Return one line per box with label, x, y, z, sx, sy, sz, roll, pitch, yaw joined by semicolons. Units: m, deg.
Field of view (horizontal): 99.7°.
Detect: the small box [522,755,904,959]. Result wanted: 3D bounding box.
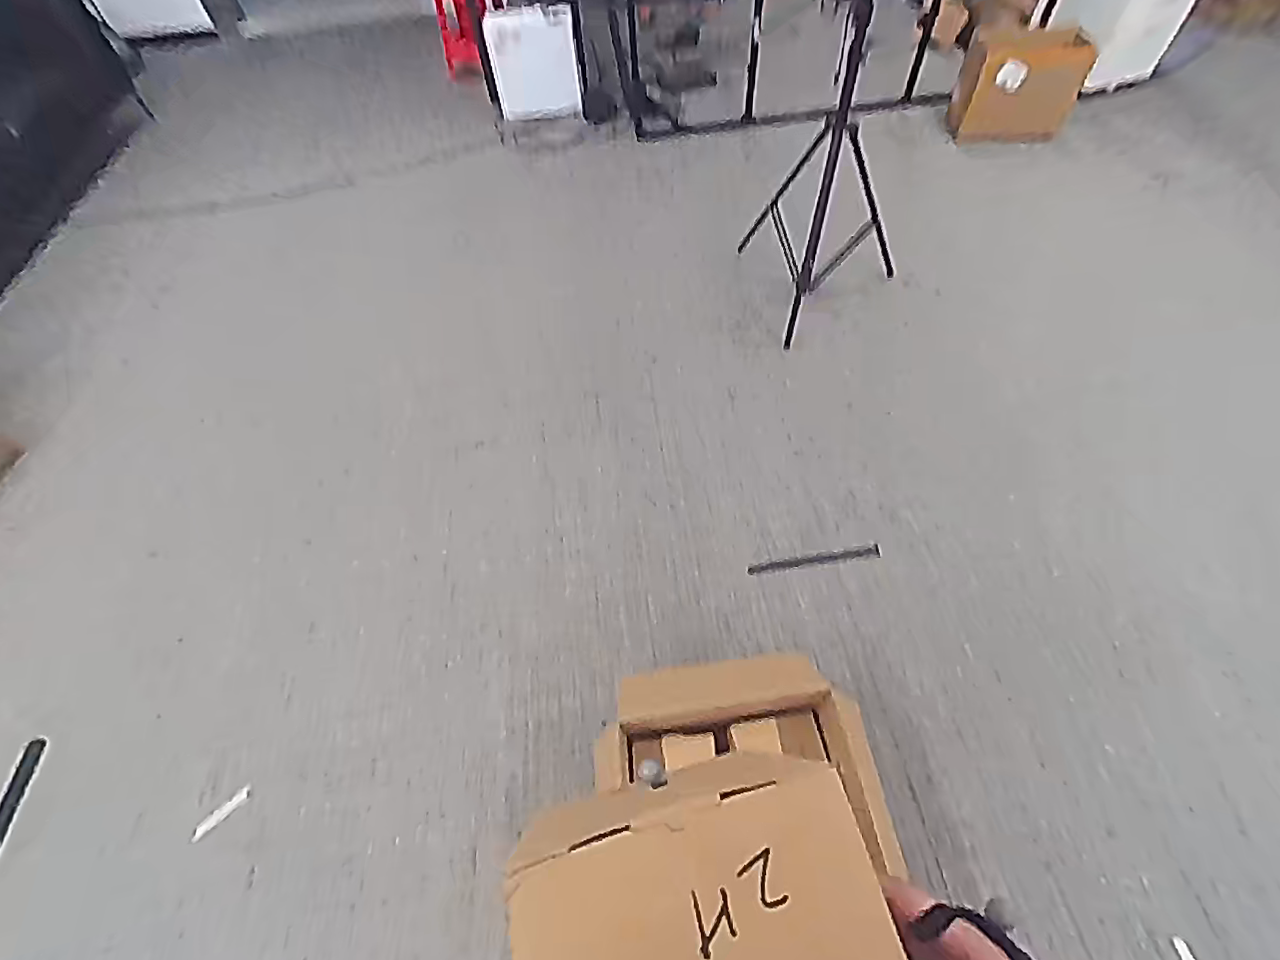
small box;0.037;0.271;0.304;0.168;0.176;0.179;-11;66;-10
